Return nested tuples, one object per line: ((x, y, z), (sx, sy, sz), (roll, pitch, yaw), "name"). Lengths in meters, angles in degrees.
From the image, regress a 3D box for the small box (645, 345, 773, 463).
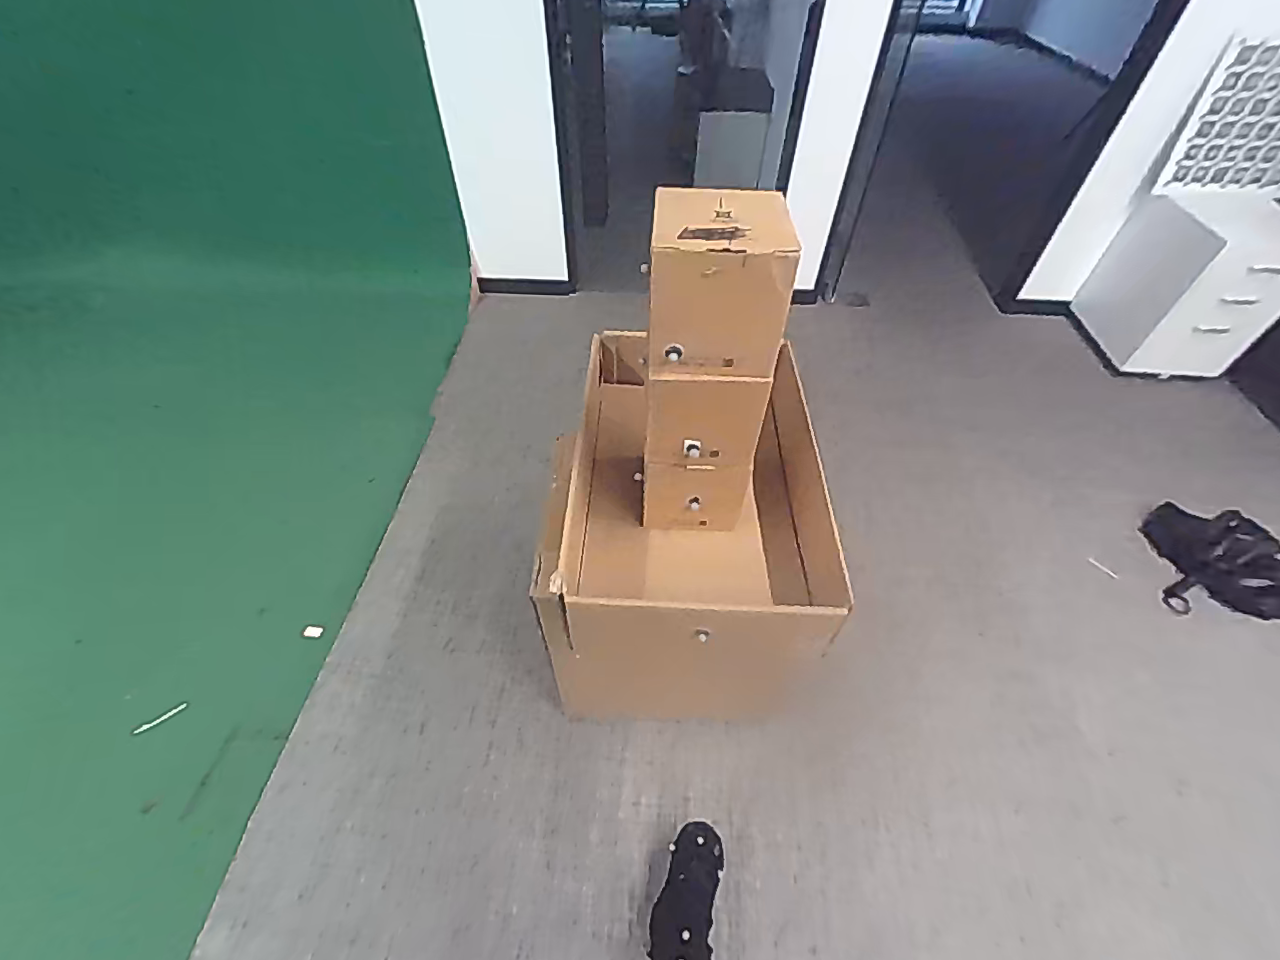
((0.093, -0.146, 0.823), (0.168, 0.176, 0.179), (0, 50, -1), "small box")

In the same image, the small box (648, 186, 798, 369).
((0.097, -0.261, 0.706), (0.168, 0.176, 0.179), (3, 48, 1), "small box")
